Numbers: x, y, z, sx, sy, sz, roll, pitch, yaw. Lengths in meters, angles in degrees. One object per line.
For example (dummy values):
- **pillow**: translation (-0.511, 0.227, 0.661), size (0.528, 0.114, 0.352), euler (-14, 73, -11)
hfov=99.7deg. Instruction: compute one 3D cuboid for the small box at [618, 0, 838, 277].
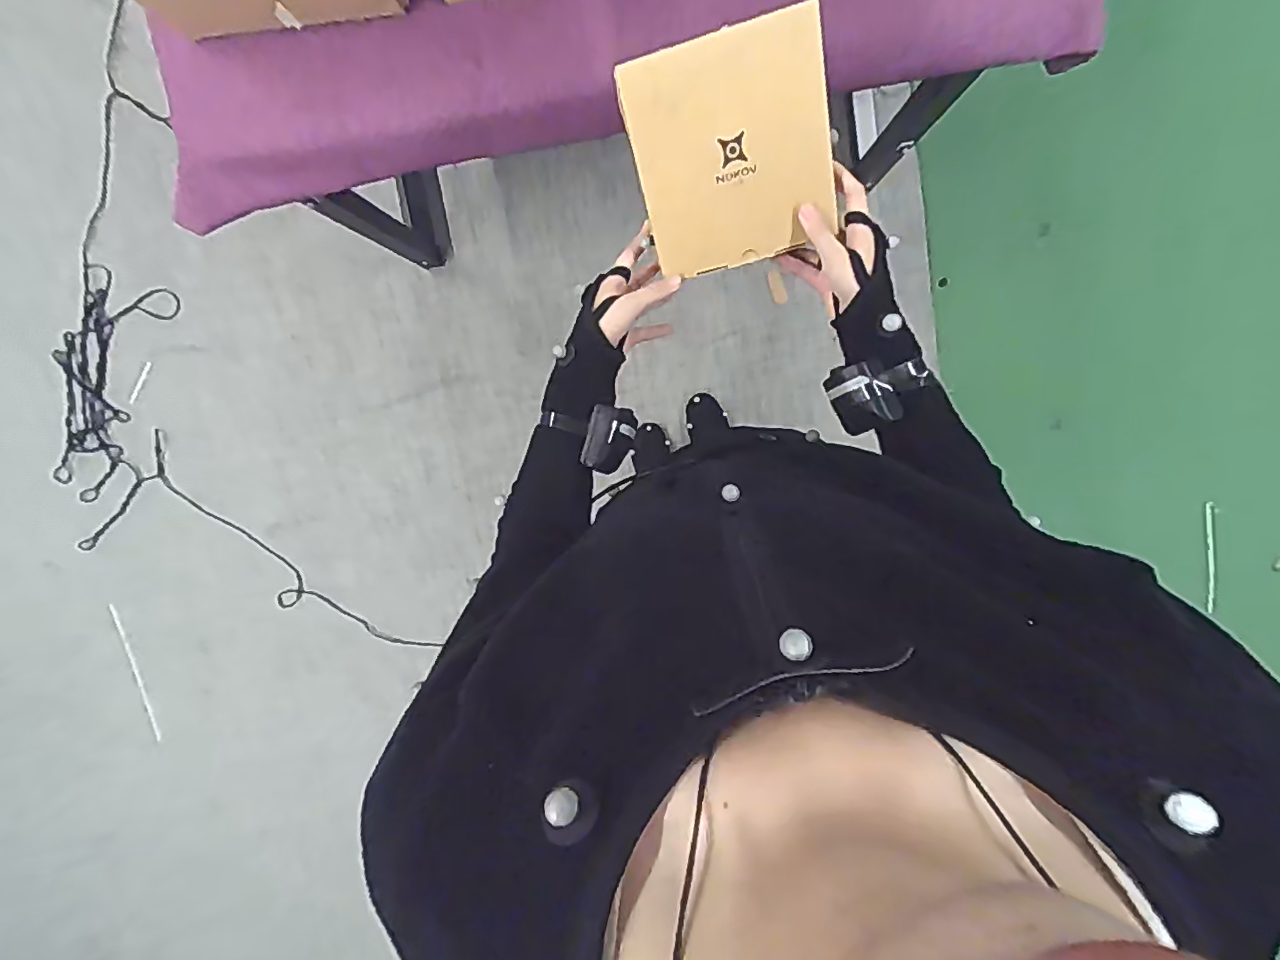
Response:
- **small box**: translation (0.078, -0.317, 0.529), size (0.168, 0.176, 0.179), euler (-14, 117, 7)
